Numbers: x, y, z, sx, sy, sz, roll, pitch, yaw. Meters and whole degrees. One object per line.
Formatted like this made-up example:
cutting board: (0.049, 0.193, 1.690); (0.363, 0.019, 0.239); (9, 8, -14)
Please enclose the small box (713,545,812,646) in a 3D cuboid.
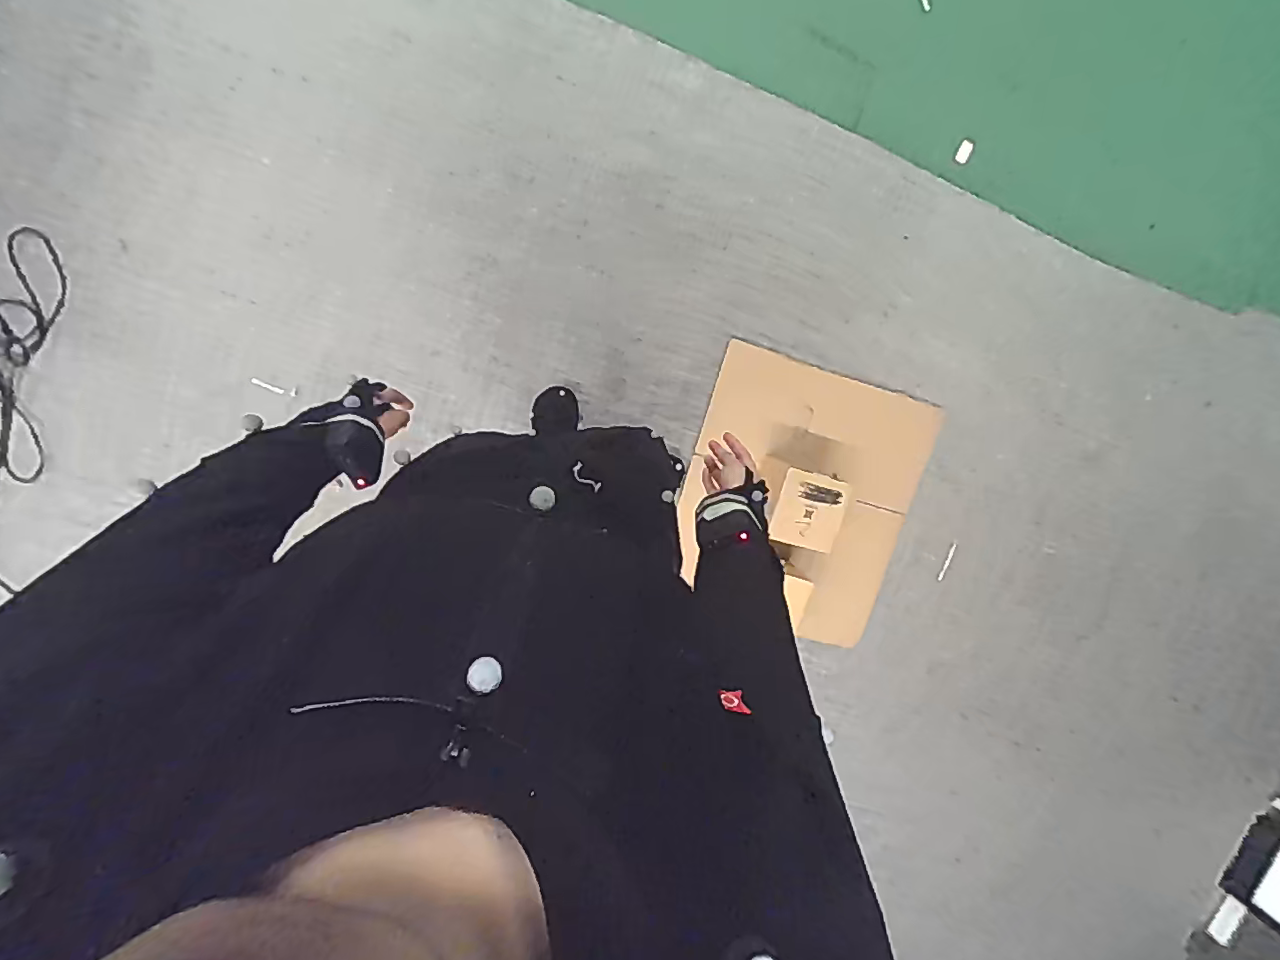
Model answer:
small box: (0.295, 0.280, 1.349); (0.168, 0.176, 0.179); (17, 99, -9)
